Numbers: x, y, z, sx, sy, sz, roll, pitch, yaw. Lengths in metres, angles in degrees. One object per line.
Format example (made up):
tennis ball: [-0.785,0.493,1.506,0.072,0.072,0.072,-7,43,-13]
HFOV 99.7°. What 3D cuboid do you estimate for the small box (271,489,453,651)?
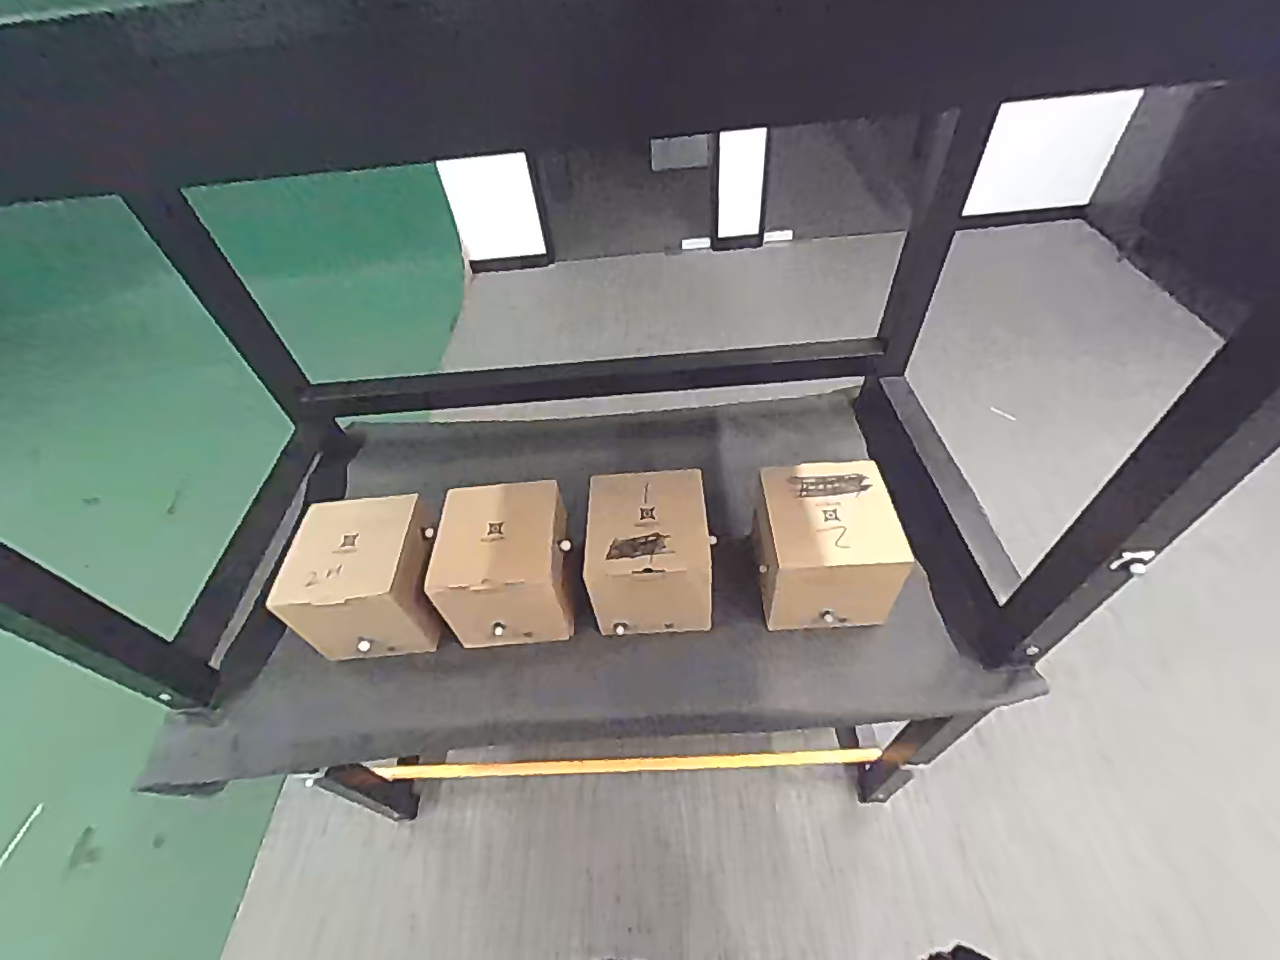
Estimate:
small box: [-0.398,0.137,0.815,0.168,0.176,0.179,-5,48,1]
